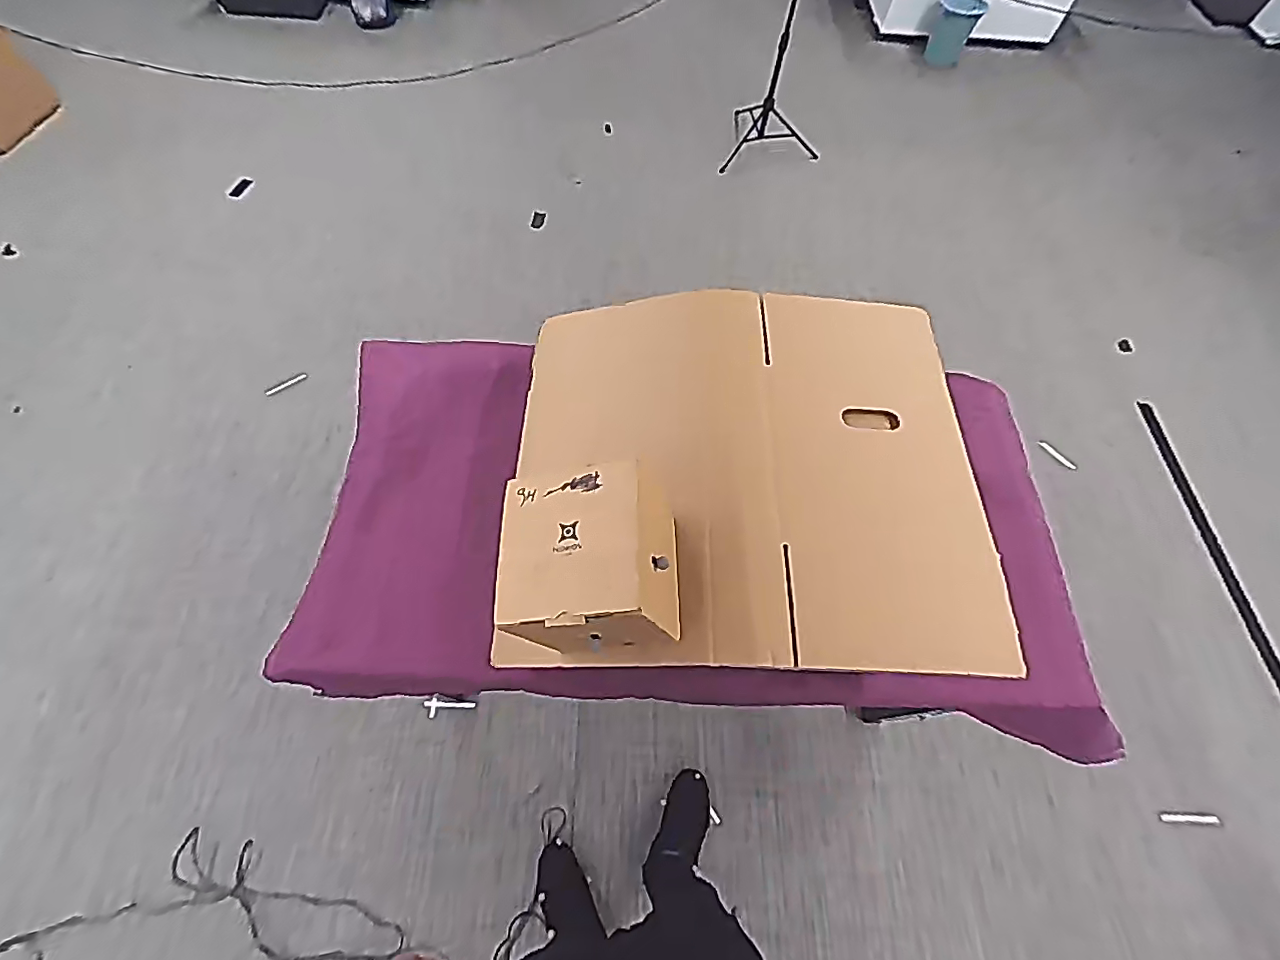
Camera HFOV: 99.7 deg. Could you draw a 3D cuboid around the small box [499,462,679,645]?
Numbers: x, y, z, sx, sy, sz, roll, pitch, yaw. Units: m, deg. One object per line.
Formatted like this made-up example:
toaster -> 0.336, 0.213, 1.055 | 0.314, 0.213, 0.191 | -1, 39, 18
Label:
small box -> -0.052, 0.101, 0.660 | 0.168, 0.176, 0.179 | -9, 63, 15
